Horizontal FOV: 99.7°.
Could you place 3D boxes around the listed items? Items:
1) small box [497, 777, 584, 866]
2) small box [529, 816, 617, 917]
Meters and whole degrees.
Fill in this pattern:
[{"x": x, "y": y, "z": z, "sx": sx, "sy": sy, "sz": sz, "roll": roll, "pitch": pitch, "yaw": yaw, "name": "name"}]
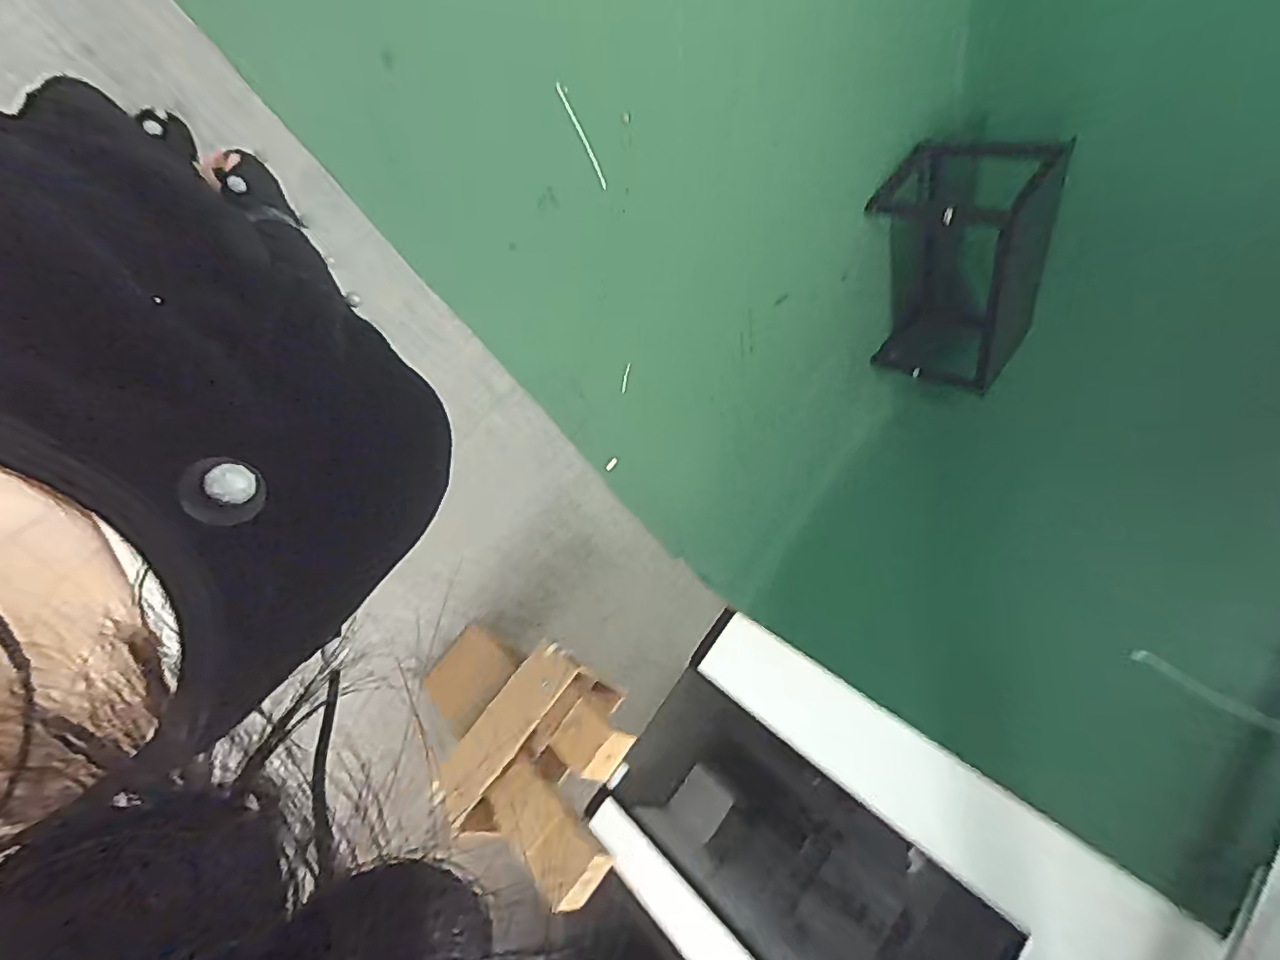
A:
[{"x": -0.316, "y": 1.075, "z": 1.704, "sx": 0.179, "sy": 0.176, "sz": 0.168, "roll": -48, "pitch": 140, "yaw": -14, "name": "small box"}, {"x": -0.205, "y": 1.148, "z": 1.608, "sx": 0.179, "sy": 0.176, "sz": 0.168, "roll": -49, "pitch": 141, "yaw": -14, "name": "small box"}]
